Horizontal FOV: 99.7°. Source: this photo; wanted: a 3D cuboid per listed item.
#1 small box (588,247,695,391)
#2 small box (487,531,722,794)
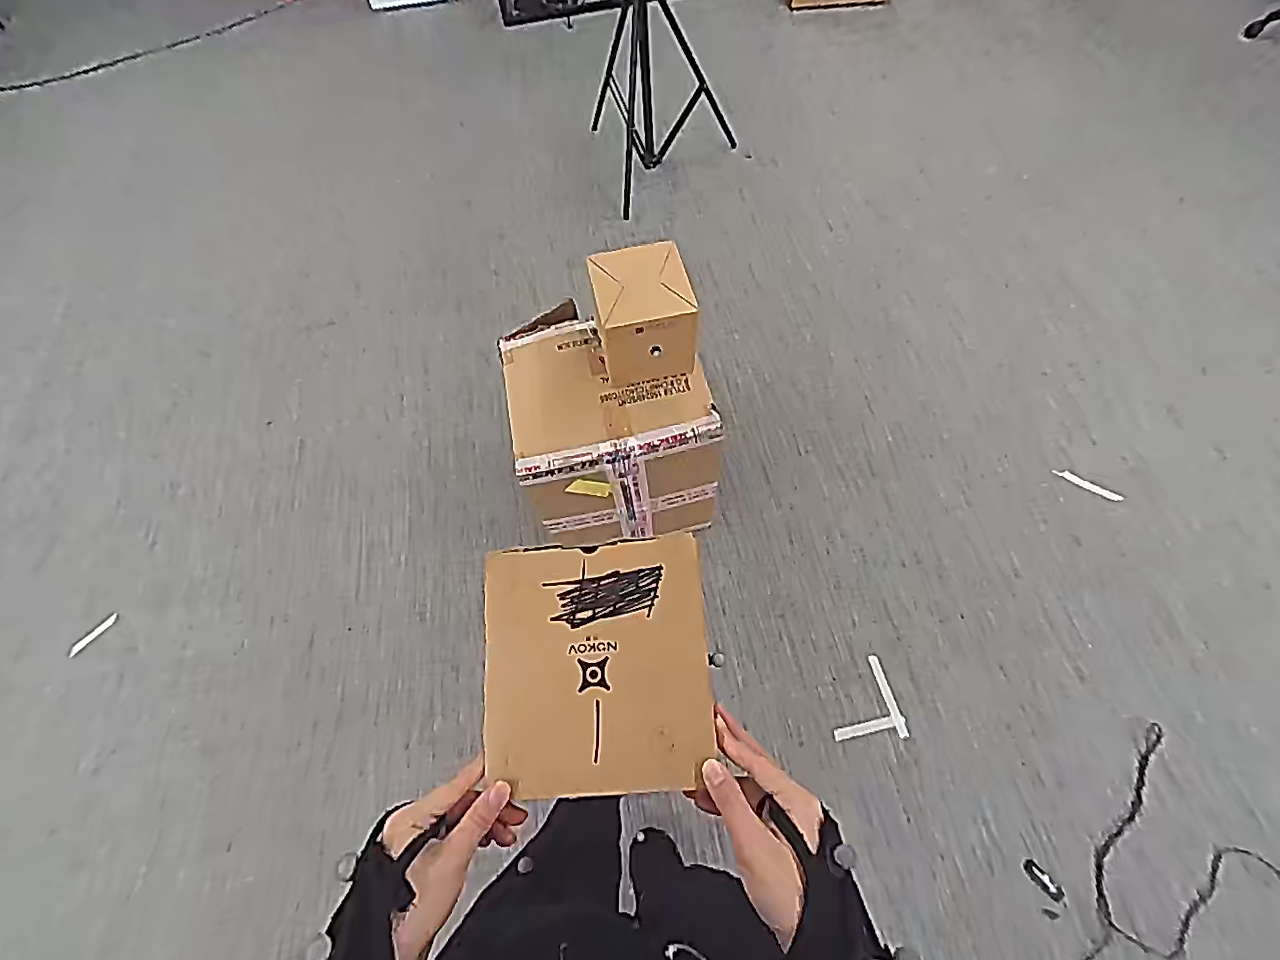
[{"bbox_3d":[0.002,-0.297,1.007,0.168,0.176,0.179,-12,64,-5],"label":"small box"},{"bbox_3d":[-0.024,0.151,0.471,0.168,0.176,0.179,-6,74,4],"label":"small box"}]
